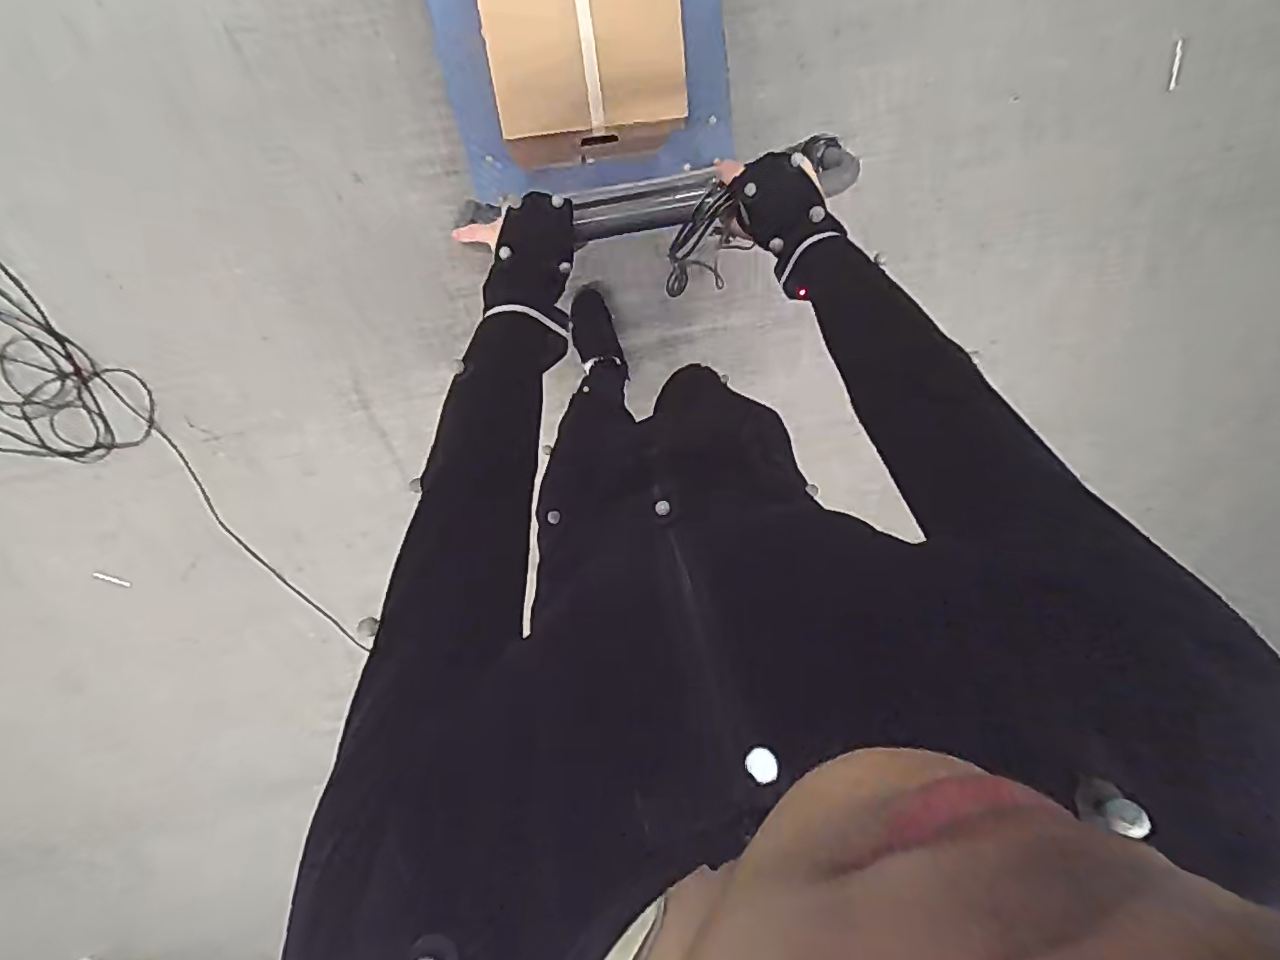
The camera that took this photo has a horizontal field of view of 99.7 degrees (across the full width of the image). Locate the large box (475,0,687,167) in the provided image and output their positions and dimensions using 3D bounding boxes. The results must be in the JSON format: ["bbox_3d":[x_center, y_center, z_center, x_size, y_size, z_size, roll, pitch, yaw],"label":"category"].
[{"bbox_3d":[-0.115,-0.818,0.947,0.320,0.320,0.408,-9,112,-4],"label":"large box"}]
